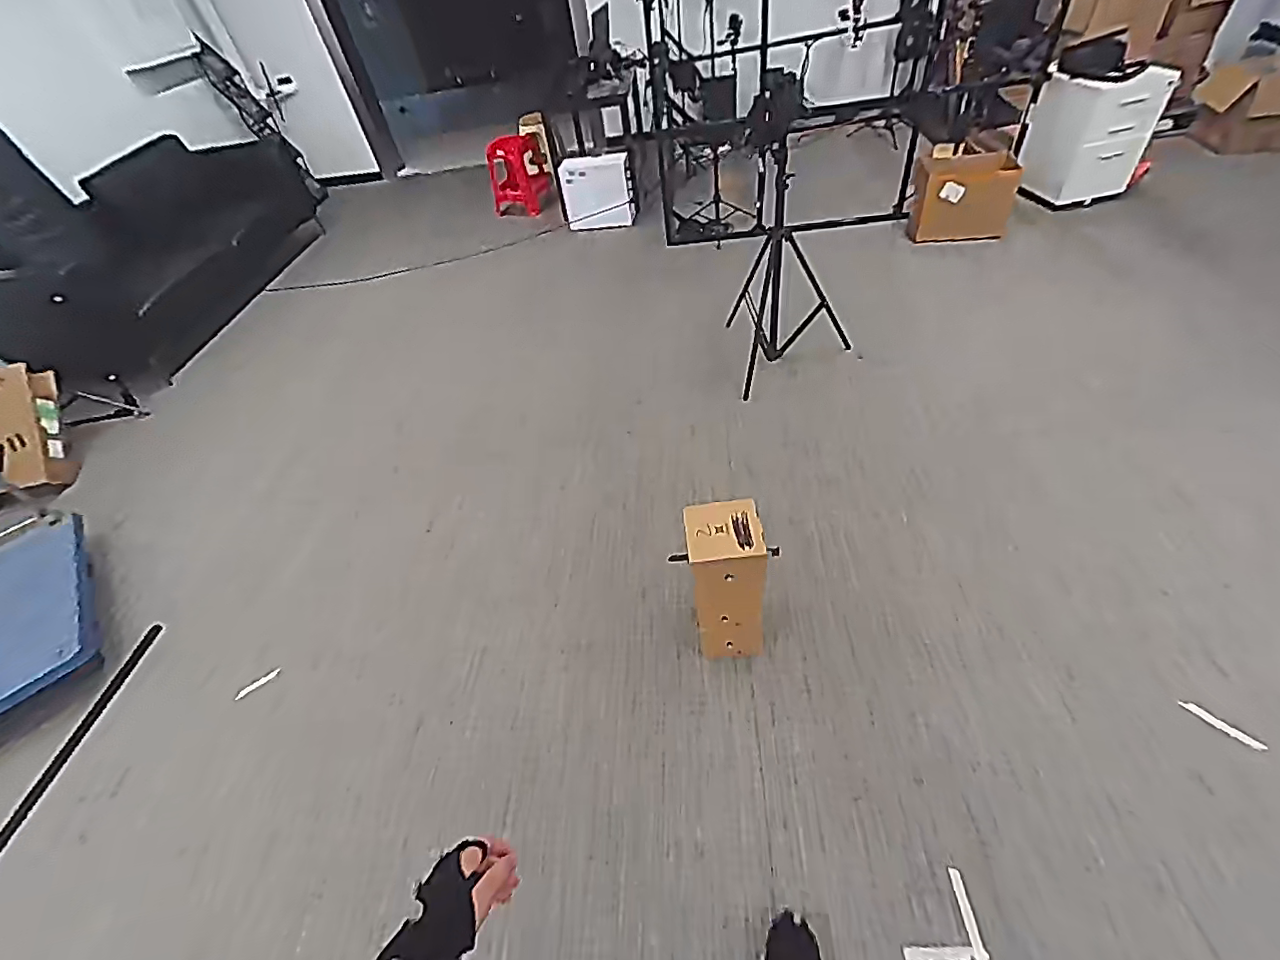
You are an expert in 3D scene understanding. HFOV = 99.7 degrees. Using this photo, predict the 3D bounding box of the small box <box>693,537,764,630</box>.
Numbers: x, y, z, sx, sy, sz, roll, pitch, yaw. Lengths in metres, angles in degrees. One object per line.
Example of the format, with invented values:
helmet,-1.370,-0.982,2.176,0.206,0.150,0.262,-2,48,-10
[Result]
small box,0.229,0.275,1.428,0.168,0.176,0.179,-6,47,6

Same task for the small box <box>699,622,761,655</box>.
small box,0.252,0.387,1.544,0.168,0.176,0.179,-6,45,5
